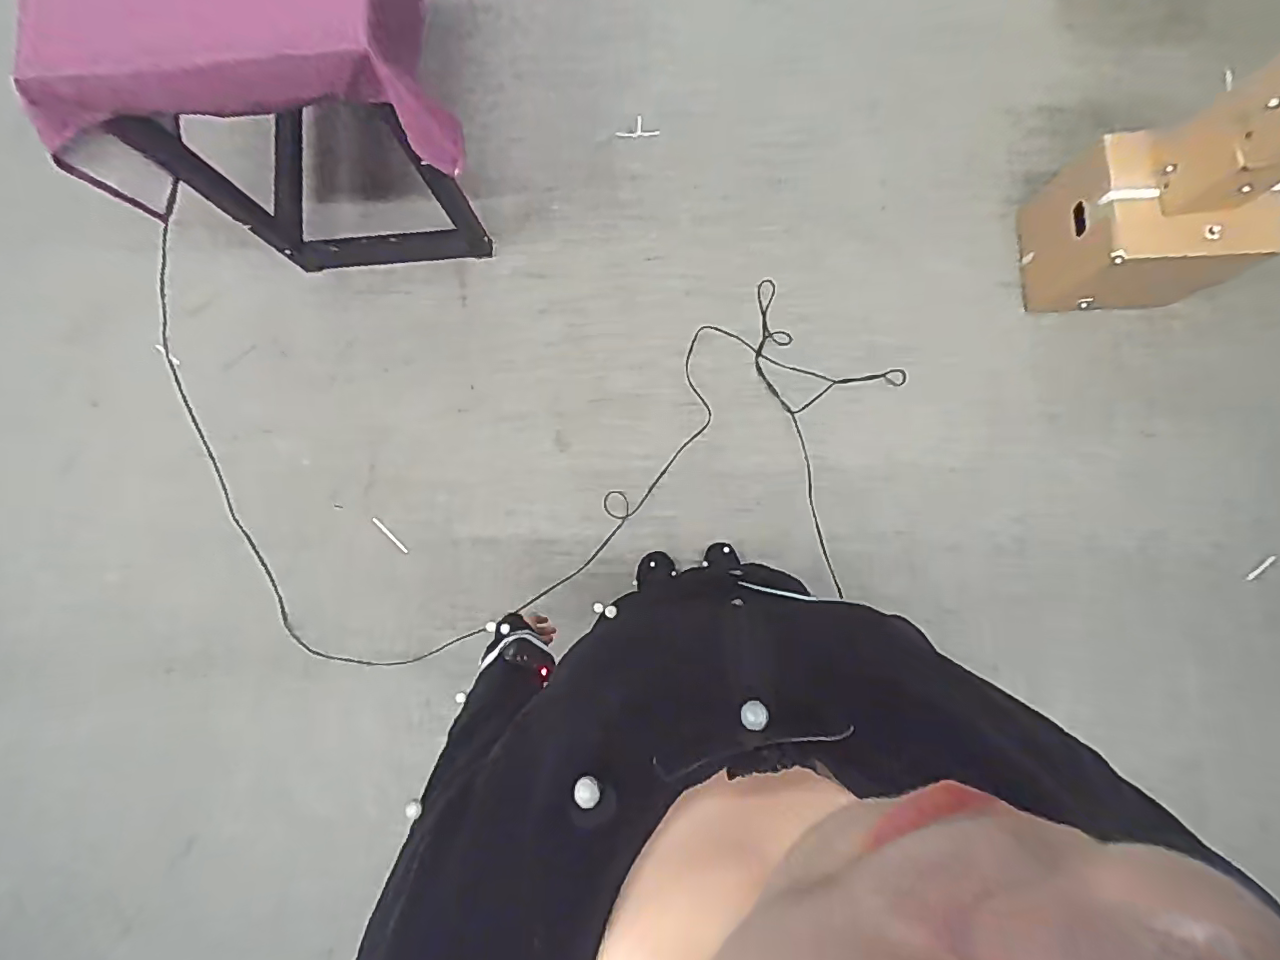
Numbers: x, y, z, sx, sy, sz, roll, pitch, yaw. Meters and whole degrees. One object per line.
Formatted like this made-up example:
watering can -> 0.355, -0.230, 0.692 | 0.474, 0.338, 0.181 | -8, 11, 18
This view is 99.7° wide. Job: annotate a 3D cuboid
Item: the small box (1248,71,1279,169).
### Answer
small box -> 1.297, -0.708, 0.996 | 0.179, 0.176, 0.168 | -9, 84, 2
